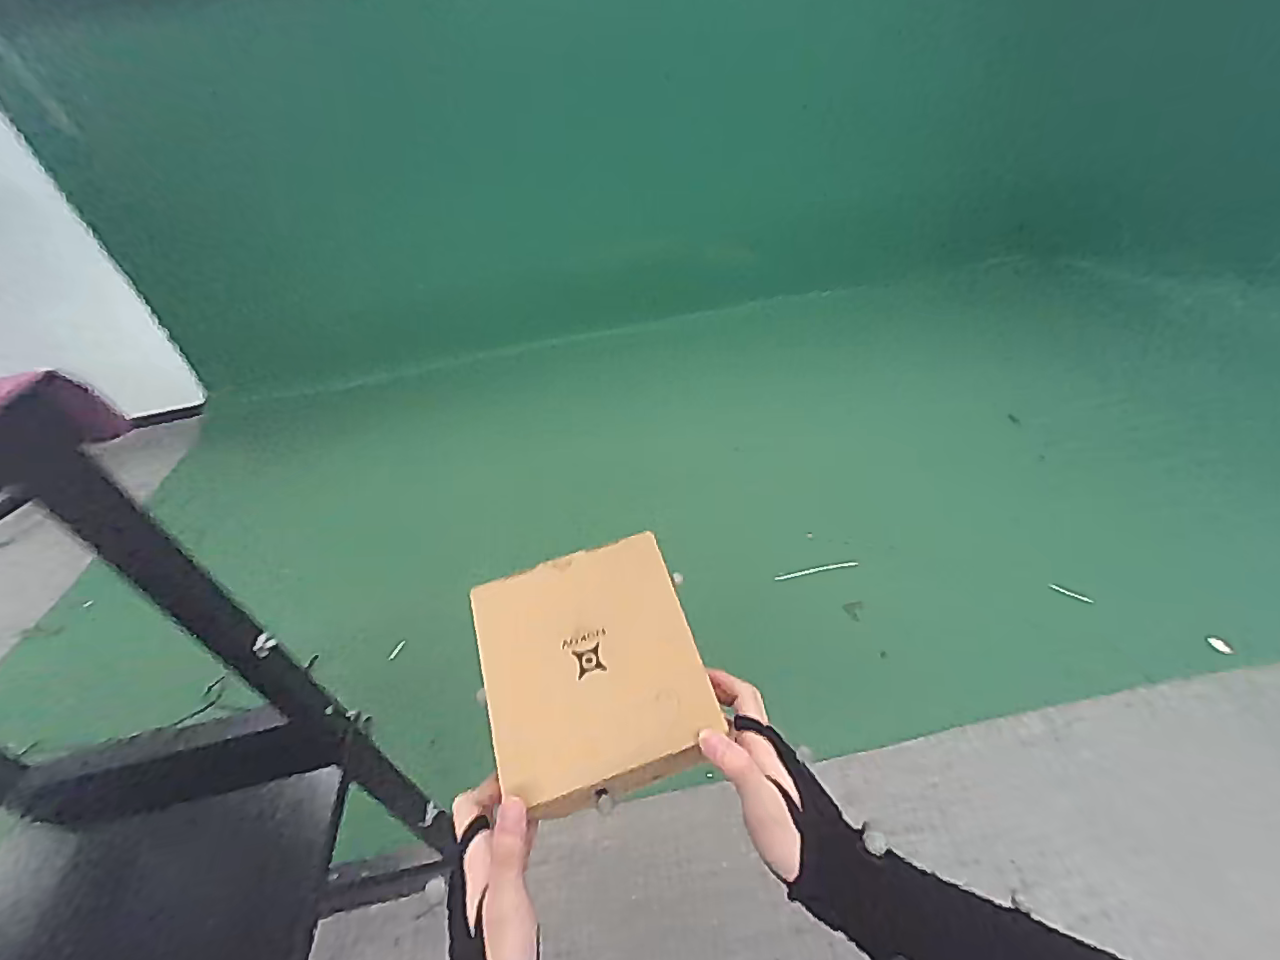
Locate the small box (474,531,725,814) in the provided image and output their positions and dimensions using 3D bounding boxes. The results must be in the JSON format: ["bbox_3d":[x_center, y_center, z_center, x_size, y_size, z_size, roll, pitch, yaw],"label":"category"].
[{"bbox_3d":[-0.033,0.178,0.488,0.168,0.176,0.179,-17,57,-7],"label":"small box"}]
